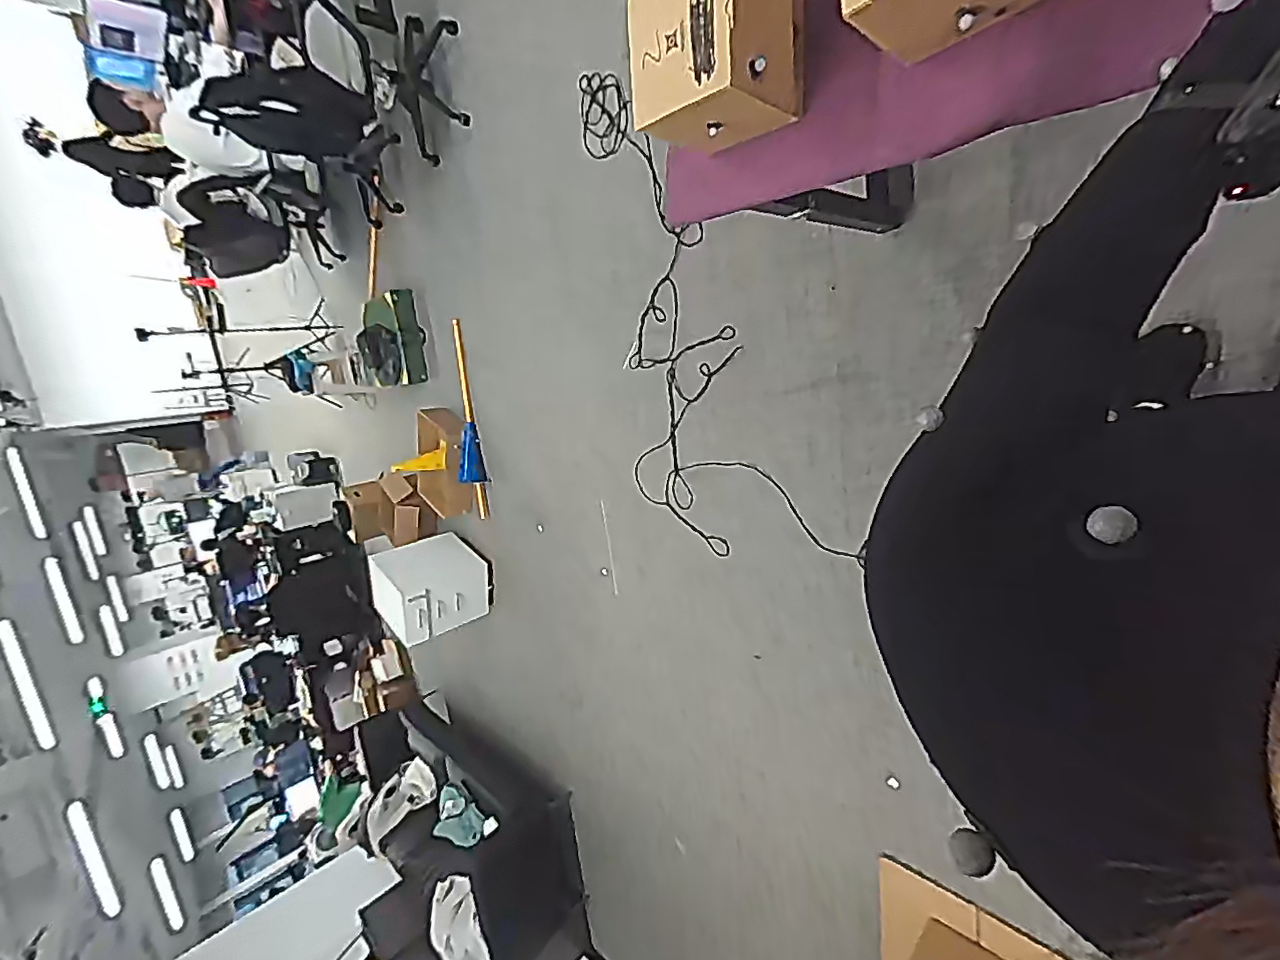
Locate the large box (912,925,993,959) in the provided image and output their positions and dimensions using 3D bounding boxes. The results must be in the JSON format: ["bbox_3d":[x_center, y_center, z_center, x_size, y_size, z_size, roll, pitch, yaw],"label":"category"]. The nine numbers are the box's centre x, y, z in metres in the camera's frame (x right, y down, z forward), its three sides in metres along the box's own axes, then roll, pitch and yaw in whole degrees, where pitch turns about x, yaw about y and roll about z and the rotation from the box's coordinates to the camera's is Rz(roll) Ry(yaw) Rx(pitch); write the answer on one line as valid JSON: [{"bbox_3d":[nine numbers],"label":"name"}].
[{"bbox_3d":[0.975,1.596,1.508,0.408,0.320,0.320,3,105,48],"label":"large box"}]

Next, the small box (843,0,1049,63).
[{"bbox_3d":[0.313,-0.568,0.534,0.168,0.176,0.179,3,103,47],"label":"small box"}]
